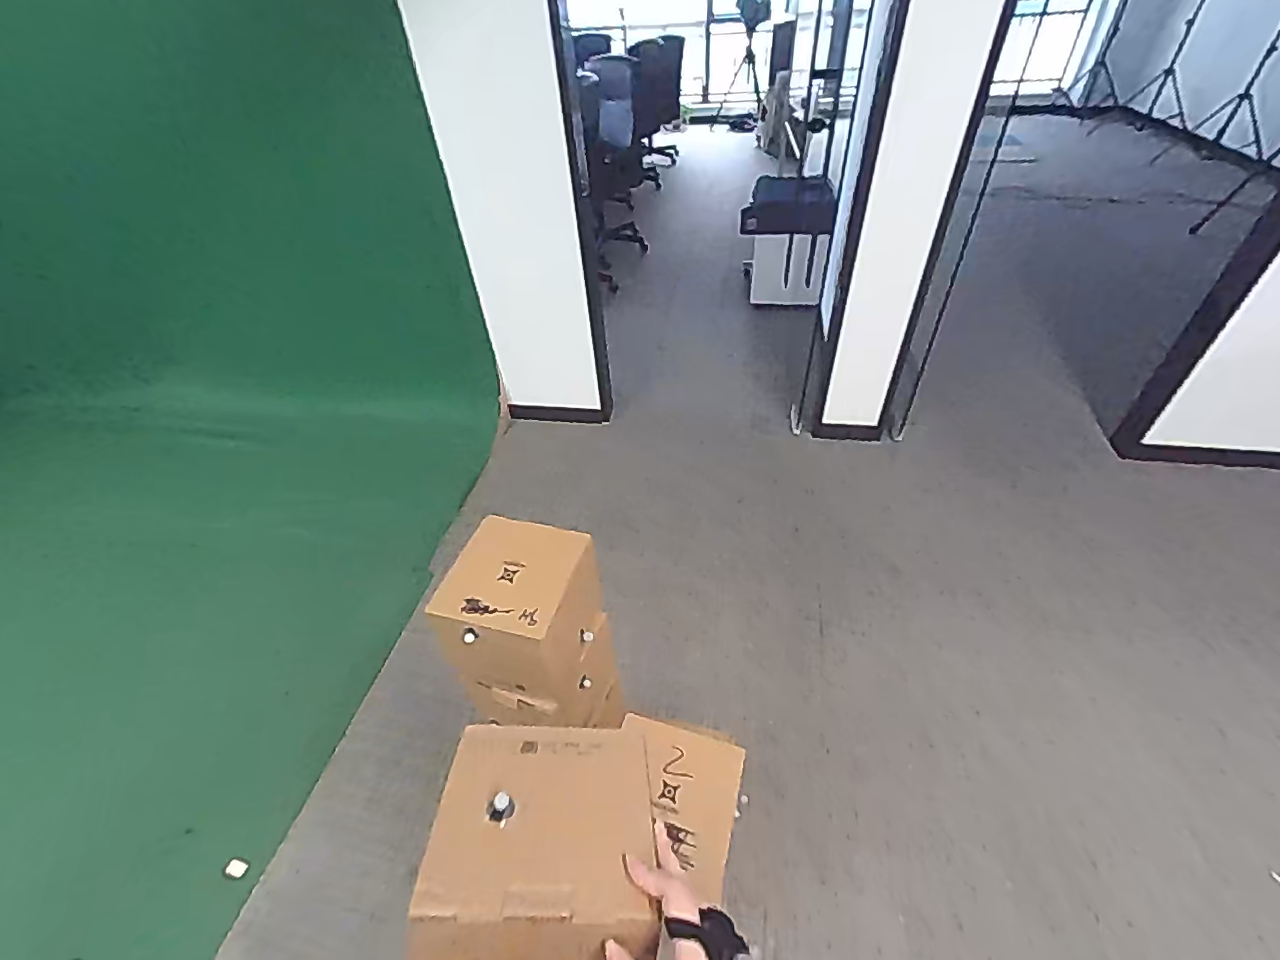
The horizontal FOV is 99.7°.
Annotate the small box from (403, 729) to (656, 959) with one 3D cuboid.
[{"bbox_3d":[-0.086,0.335,0.450,0.168,0.179,0.176,5,18,-6],"label":"small box"}]

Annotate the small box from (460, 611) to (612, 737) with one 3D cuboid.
[{"bbox_3d":[-0.154,0.310,0.880,0.168,0.176,0.179,14,44,19],"label":"small box"}]

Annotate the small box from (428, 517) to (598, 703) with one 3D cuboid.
[{"bbox_3d":[-0.165,0.183,0.775,0.168,0.176,0.179,8,43,15],"label":"small box"}]

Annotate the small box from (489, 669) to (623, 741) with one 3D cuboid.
[{"bbox_3d":[-0.142,0.434,0.988,0.179,0.176,0.168,13,45,17],"label":"small box"}]

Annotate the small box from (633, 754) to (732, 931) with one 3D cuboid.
[{"bbox_3d":[0.047,0.560,0.834,0.168,0.176,0.179,7,44,12],"label":"small box"}]
